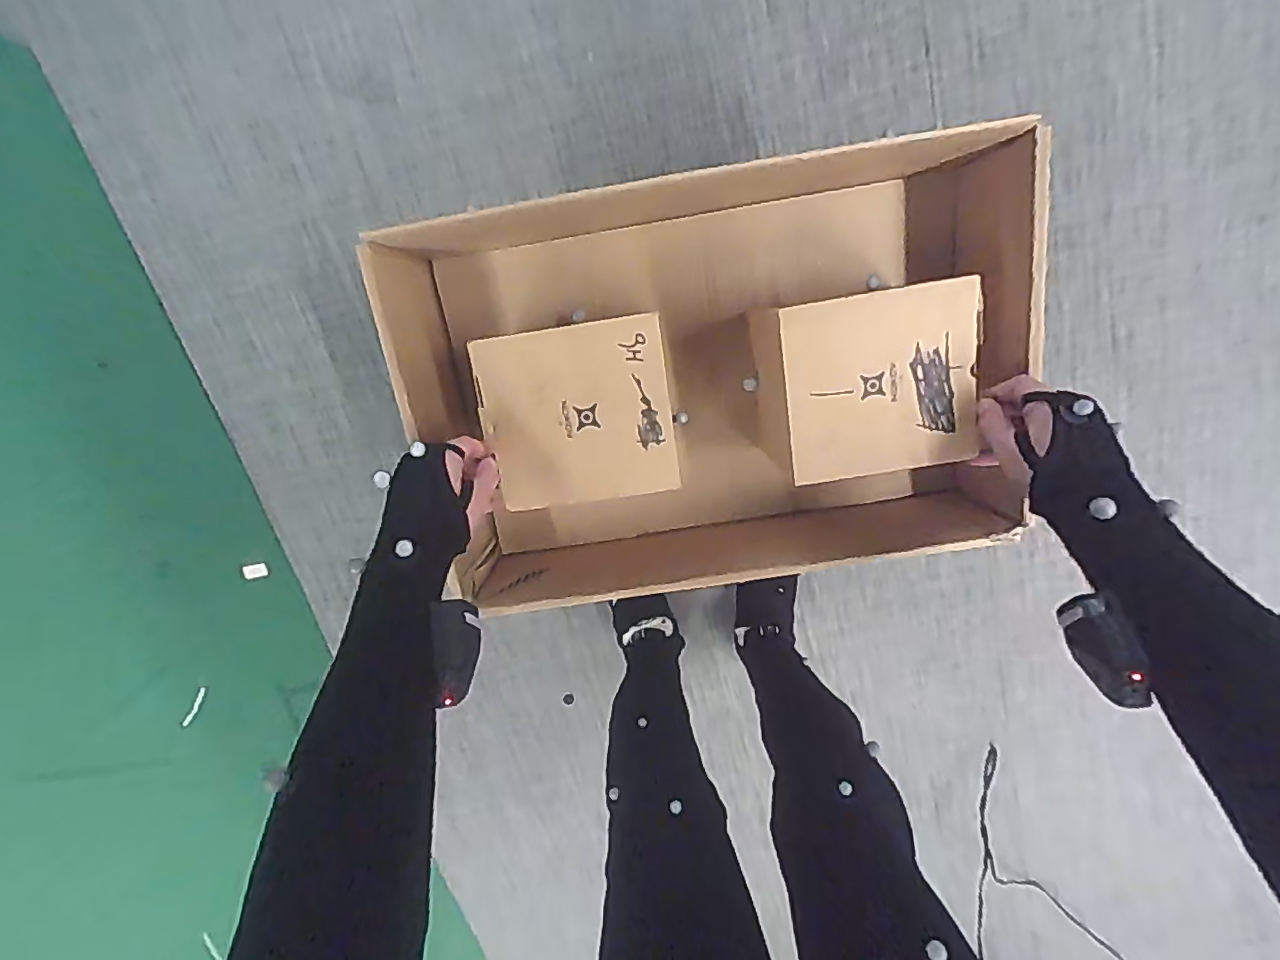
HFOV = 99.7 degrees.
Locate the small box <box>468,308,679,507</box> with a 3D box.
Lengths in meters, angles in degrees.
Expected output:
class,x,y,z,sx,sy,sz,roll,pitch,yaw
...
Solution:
class,x,y,z,sx,sy,sz,roll,pitch,yaw
small box,-0.054,-0.081,0.567,0.179,0.176,0.168,-7,105,4
